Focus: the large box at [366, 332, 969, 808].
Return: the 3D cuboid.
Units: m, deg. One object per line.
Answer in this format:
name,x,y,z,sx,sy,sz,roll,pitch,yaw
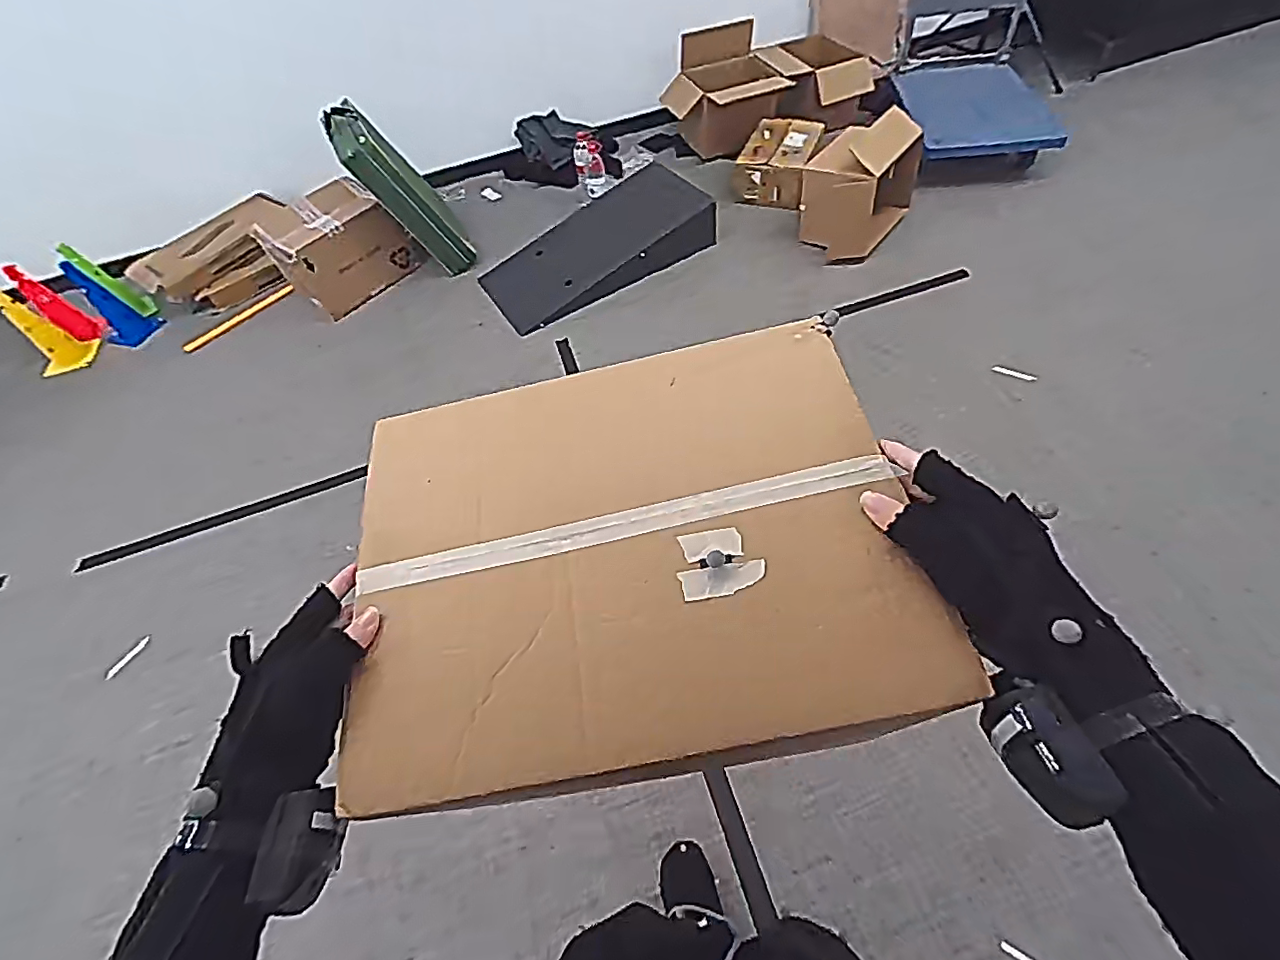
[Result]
large box,0.010,0.112,0.545,0.408,0.320,0.320,-12,60,3
